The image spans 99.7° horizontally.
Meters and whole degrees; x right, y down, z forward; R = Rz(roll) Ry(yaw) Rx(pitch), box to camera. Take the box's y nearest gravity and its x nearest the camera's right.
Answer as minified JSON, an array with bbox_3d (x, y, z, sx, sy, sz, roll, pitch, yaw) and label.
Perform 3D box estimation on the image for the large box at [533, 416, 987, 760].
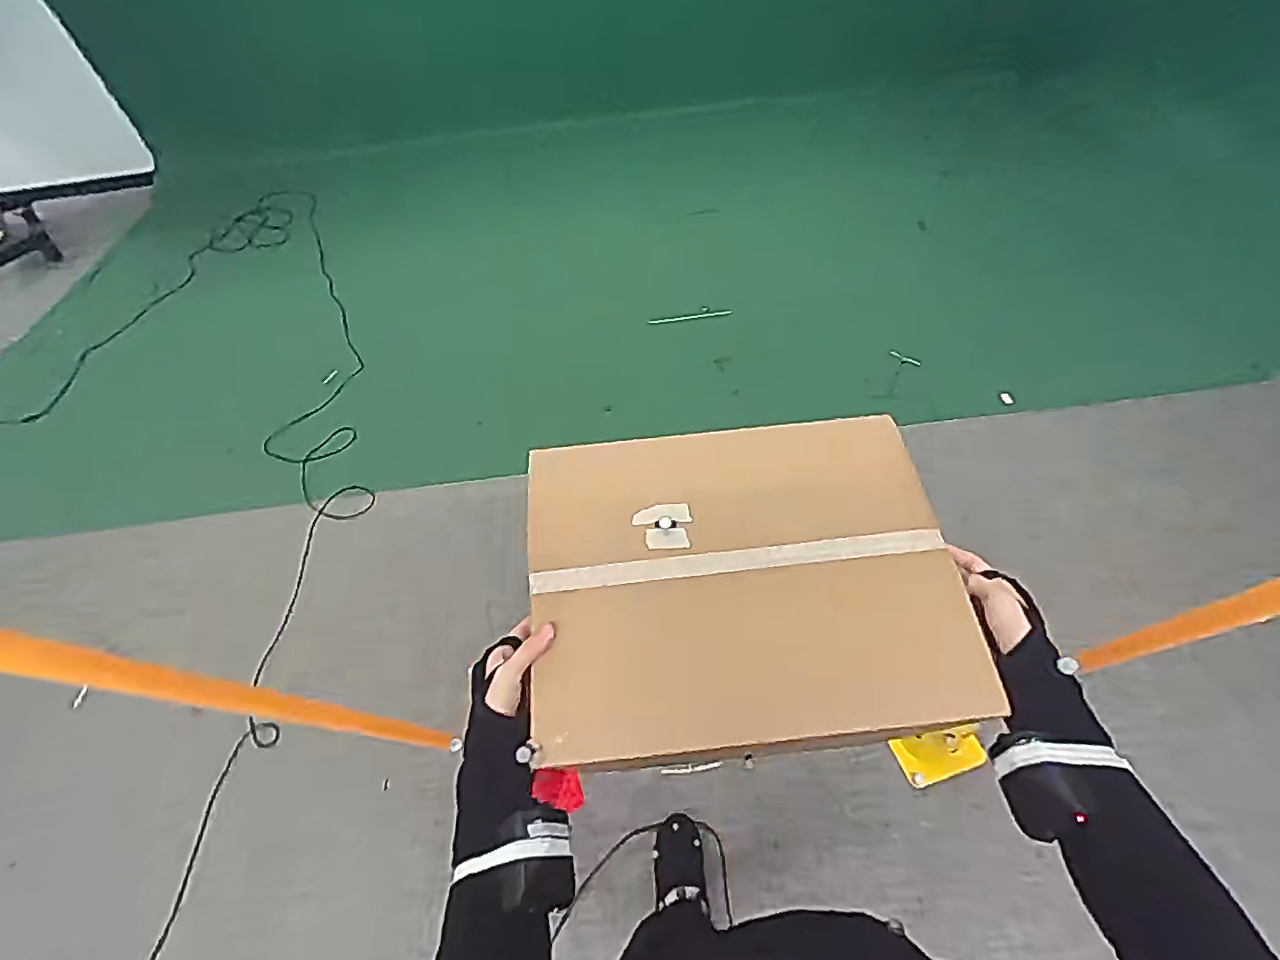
[{"bbox_3d":[0.102,0.153,0.670,0.408,0.320,0.320,-6,60,0],"label":"large box"}]
